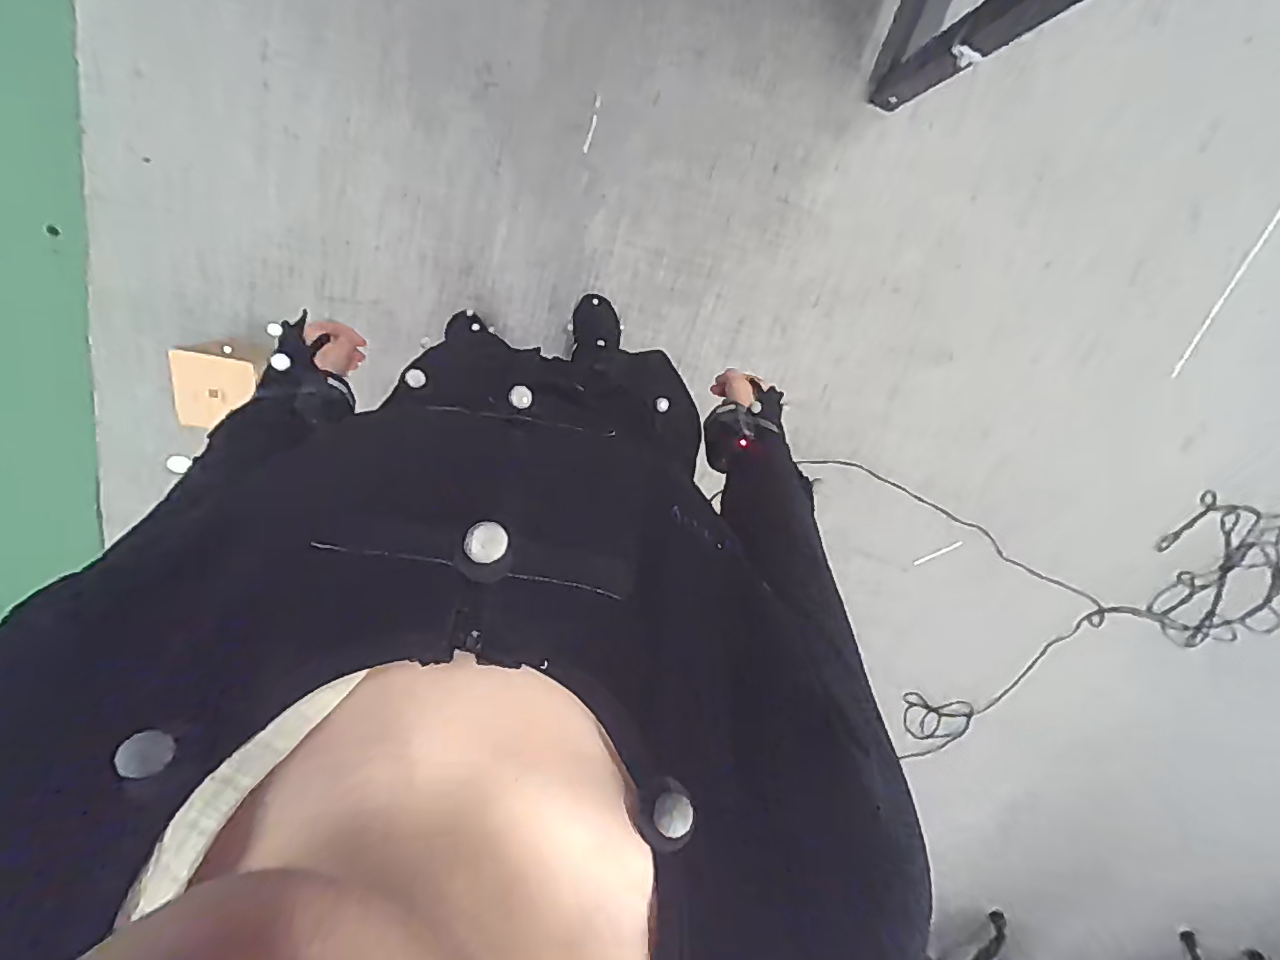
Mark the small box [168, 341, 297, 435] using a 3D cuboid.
[{"bbox_3d":[-0.908,-0.215,1.228,0.179,0.176,0.168,10,110,-5],"label":"small box"}]
